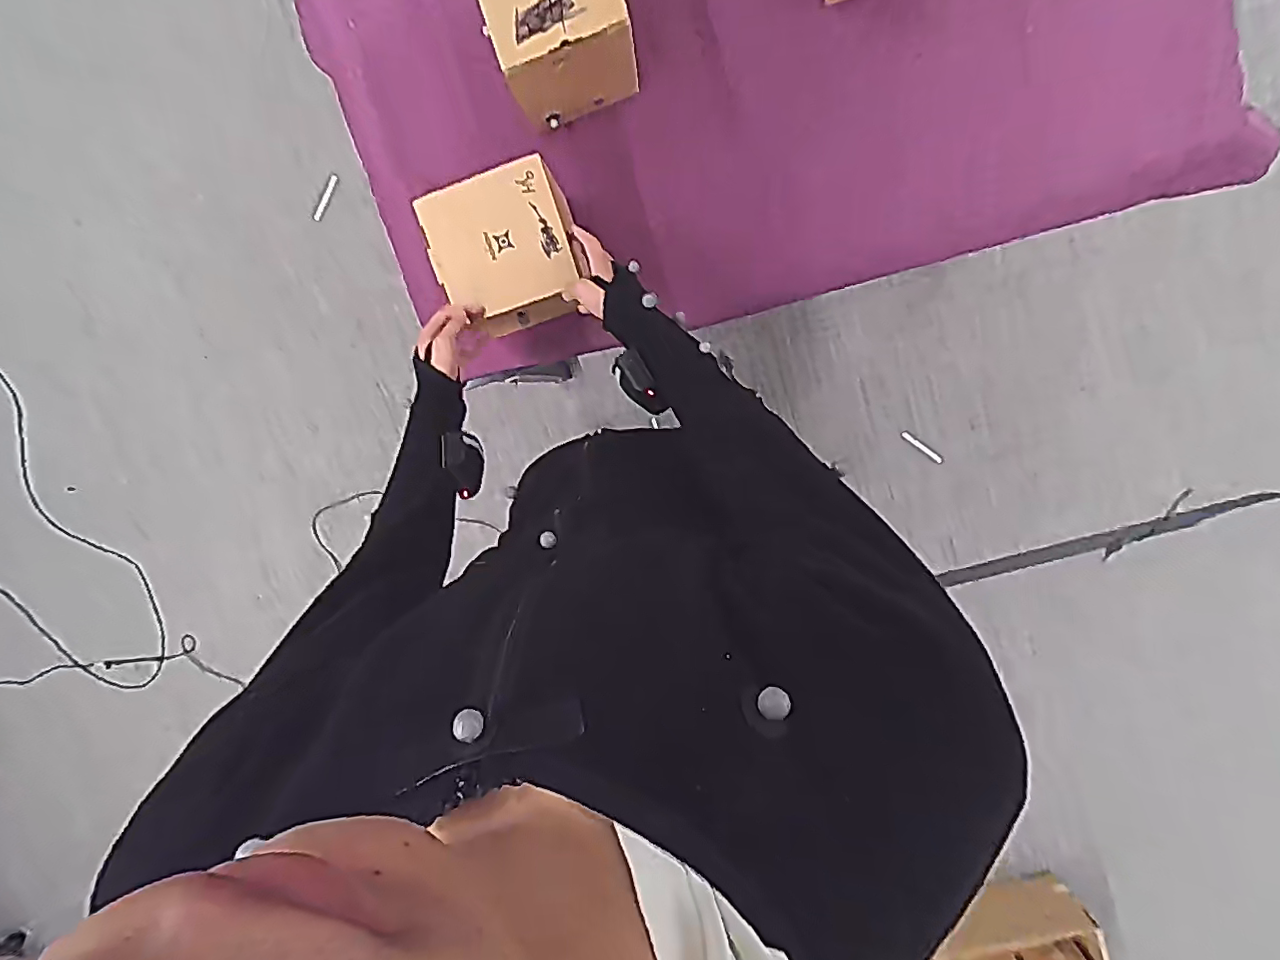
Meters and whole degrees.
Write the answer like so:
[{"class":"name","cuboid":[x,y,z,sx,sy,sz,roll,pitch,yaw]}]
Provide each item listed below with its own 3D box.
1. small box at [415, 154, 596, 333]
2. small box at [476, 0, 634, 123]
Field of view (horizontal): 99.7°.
[{"class":"small box","cuboid":[-0.177,-0.317,0.767,0.179,0.176,0.168,-17,99,7]},{"class":"small box","cuboid":[-0.113,-0.611,0.713,0.168,0.176,0.179,-18,98,6]}]
